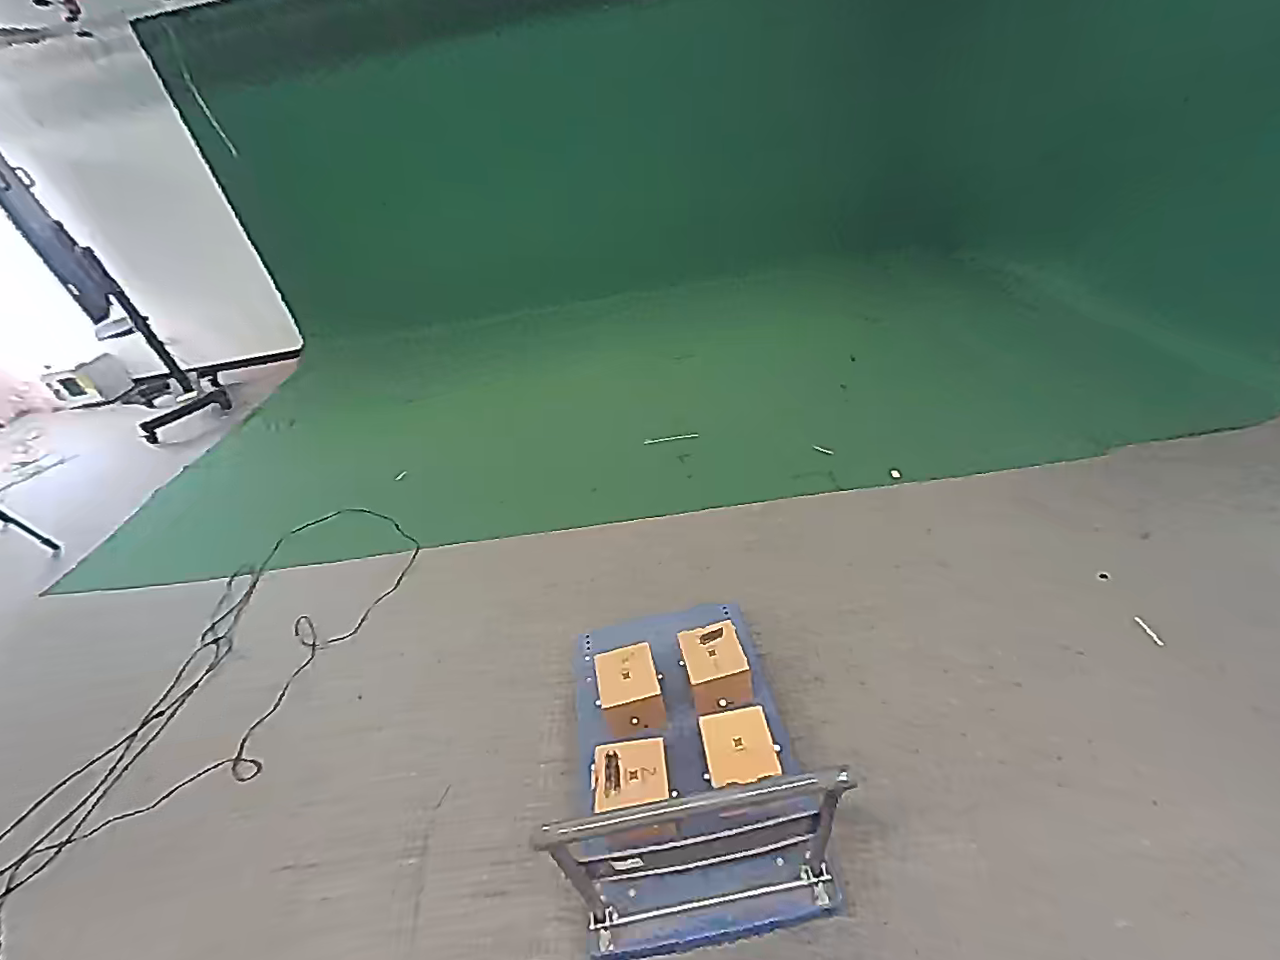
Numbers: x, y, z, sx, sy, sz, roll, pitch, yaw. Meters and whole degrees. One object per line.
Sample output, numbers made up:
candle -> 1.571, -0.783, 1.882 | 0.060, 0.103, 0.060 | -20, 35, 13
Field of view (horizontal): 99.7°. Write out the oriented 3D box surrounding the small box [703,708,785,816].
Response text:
small box -> 0.258, 0.709, 1.362 | 0.168, 0.176, 0.179 | -11, 37, 0

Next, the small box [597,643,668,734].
small box -> -0.020, 0.609, 1.561 | 0.168, 0.176, 0.179 | -13, 37, -3

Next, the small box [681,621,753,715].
small box -> 0.224, 0.548, 1.577 | 0.168, 0.176, 0.179 | -14, 38, -2
